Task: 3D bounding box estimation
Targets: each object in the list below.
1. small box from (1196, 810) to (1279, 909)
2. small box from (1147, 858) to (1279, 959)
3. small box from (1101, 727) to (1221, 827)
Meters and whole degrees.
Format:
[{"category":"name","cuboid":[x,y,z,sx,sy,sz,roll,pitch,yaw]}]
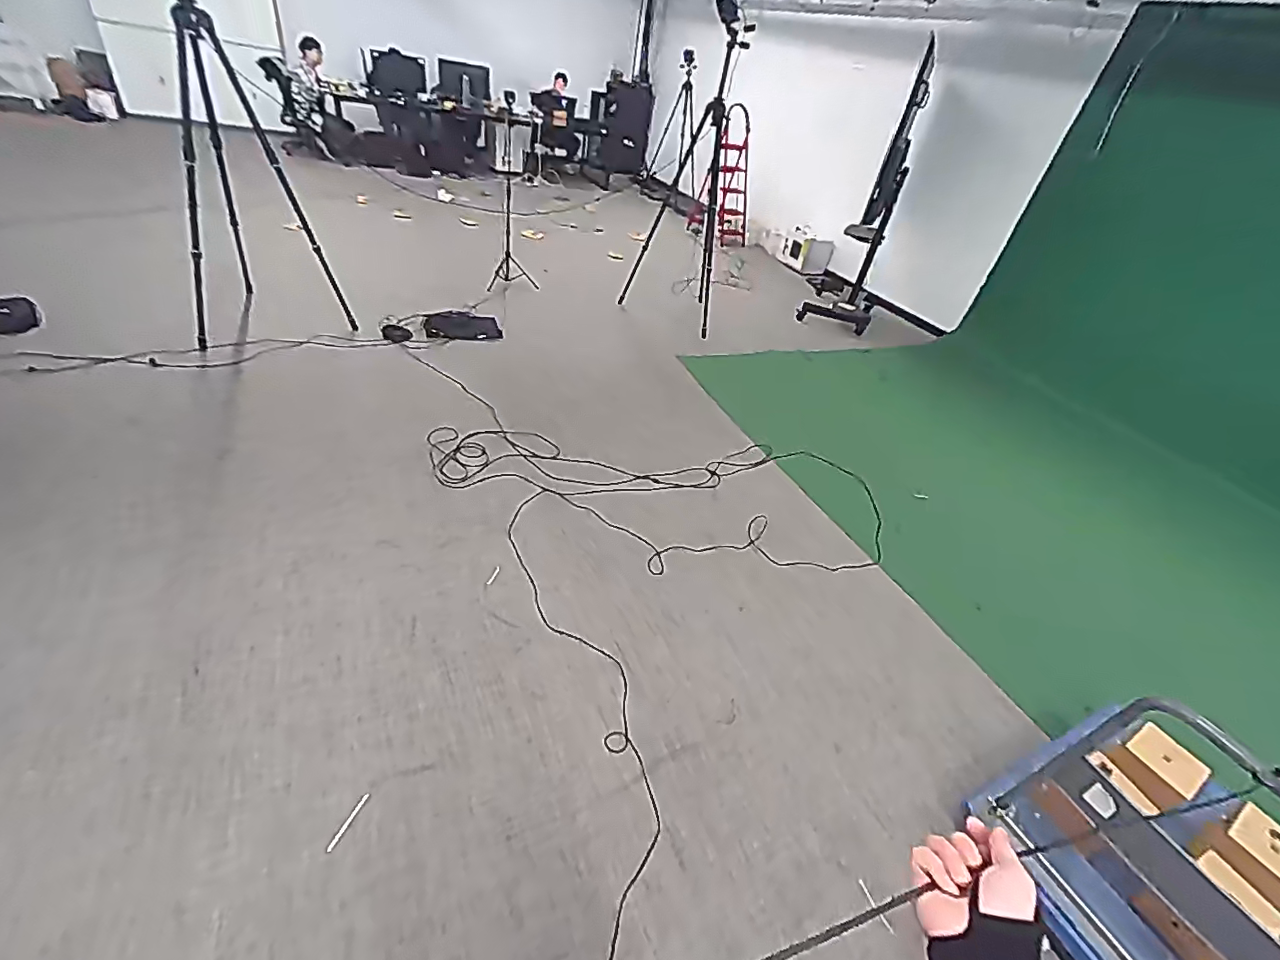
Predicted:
[{"category":"small box","cuboid":[1.624,1.009,1.408,0.179,0.176,0.168,-14,43,-28]},{"category":"small box","cuboid":[1.384,1.054,1.292,0.179,0.176,0.168,-10,42,-24]},{"category":"small box","cuboid":[1.499,0.863,1.569,0.179,0.176,0.168,-13,44,-28]}]
